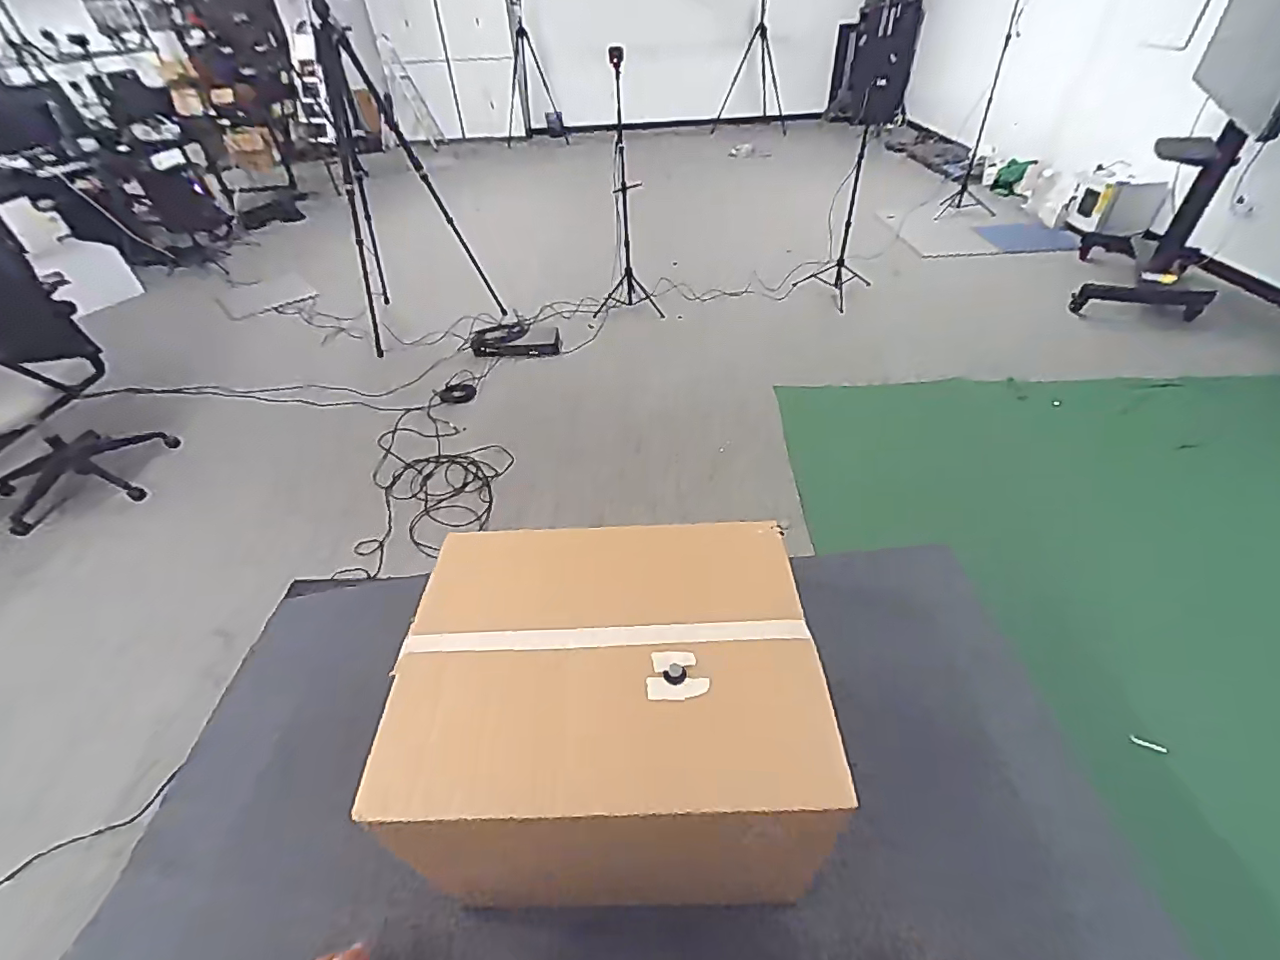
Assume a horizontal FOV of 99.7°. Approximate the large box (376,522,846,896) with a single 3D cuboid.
[{"bbox_3d":[-0.025,0.274,0.657,0.408,0.320,0.320,-2,42,1],"label":"large box"}]
